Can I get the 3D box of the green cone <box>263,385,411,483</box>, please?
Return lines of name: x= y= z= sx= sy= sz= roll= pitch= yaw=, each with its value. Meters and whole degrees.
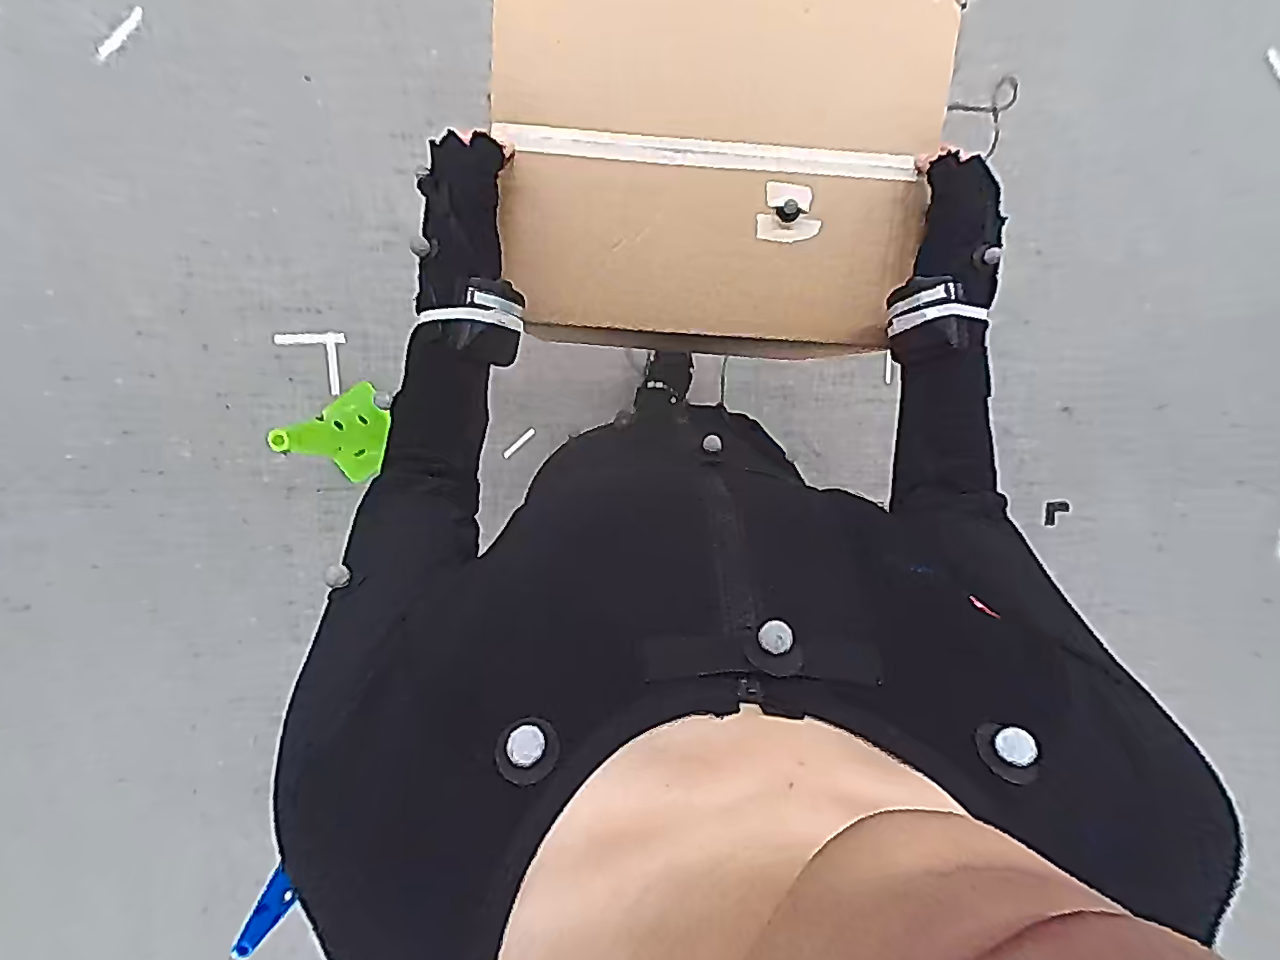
green cone: x=-0.719 y=-0.096 z=1.232 sx=0.202 sy=0.368 sz=0.200 roll=-37 pitch=96 yaw=3

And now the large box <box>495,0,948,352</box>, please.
large box: x=0.061 y=-0.327 z=0.637 sx=0.408 sy=0.320 sz=0.320 roll=3 pitch=100 yaw=-3
